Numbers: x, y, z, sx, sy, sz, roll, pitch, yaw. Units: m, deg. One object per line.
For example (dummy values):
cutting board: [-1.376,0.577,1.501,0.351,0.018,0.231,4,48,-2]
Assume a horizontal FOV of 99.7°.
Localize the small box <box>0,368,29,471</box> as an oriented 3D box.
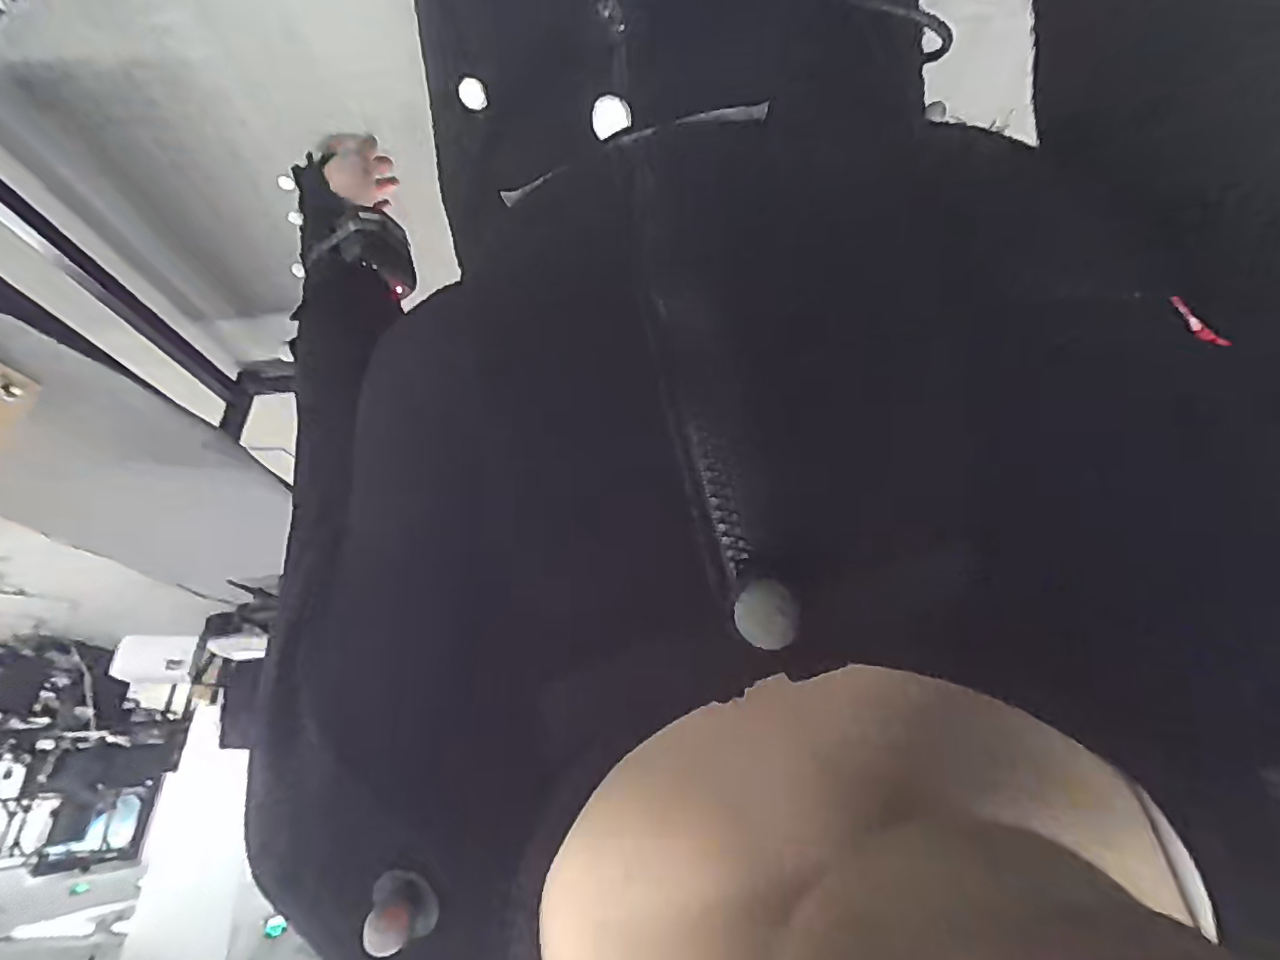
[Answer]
small box: [-0.960,-0.094,0.689,0.179,0.176,0.168,-2,153,2]
